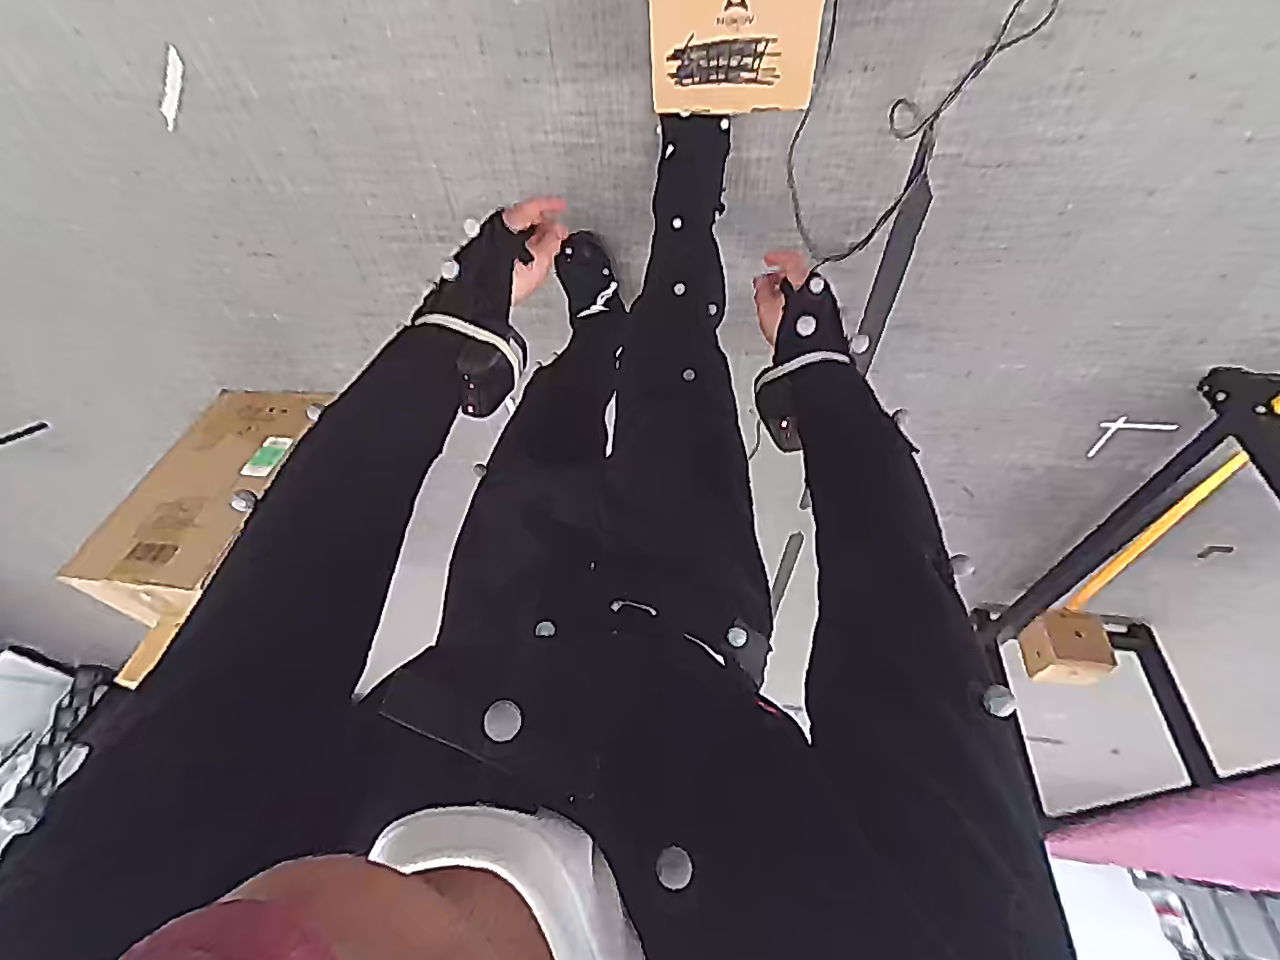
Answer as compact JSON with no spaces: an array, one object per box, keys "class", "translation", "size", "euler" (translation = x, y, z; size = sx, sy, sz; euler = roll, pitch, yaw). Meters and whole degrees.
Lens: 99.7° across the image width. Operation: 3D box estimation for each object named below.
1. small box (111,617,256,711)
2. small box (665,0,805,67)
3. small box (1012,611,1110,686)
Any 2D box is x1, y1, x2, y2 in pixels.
[{"class":"small box","translation":[-1.109,0.451,1.332],"size":[0.168,0.176,0.179],"euler":[3,143,8]},{"class":"small box","translation":[0.119,-0.639,0.662],"size":[0.168,0.176,0.179],"euler":[4,143,9]},{"class":"small box","translation":[1.302,0.525,1.689],"size":[0.168,0.176,0.179],"euler":[4,141,9]}]
